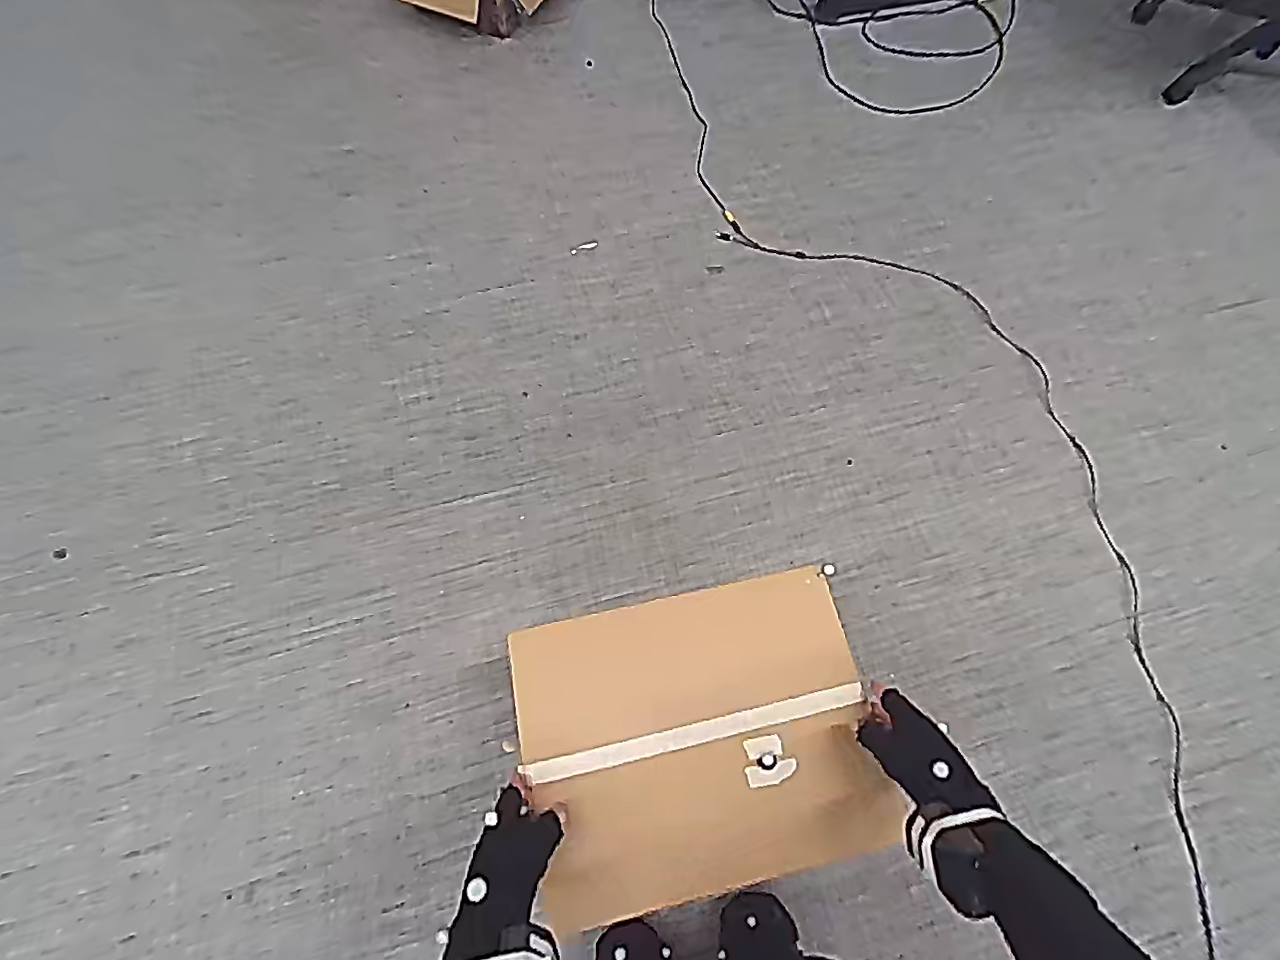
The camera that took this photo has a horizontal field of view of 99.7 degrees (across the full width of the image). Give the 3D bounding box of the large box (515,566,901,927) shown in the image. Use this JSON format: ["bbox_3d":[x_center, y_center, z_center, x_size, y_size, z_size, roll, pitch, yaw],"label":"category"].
[{"bbox_3d":[0.066,0.347,0.778,0.408,0.320,0.320,-12,70,-5],"label":"large box"}]
